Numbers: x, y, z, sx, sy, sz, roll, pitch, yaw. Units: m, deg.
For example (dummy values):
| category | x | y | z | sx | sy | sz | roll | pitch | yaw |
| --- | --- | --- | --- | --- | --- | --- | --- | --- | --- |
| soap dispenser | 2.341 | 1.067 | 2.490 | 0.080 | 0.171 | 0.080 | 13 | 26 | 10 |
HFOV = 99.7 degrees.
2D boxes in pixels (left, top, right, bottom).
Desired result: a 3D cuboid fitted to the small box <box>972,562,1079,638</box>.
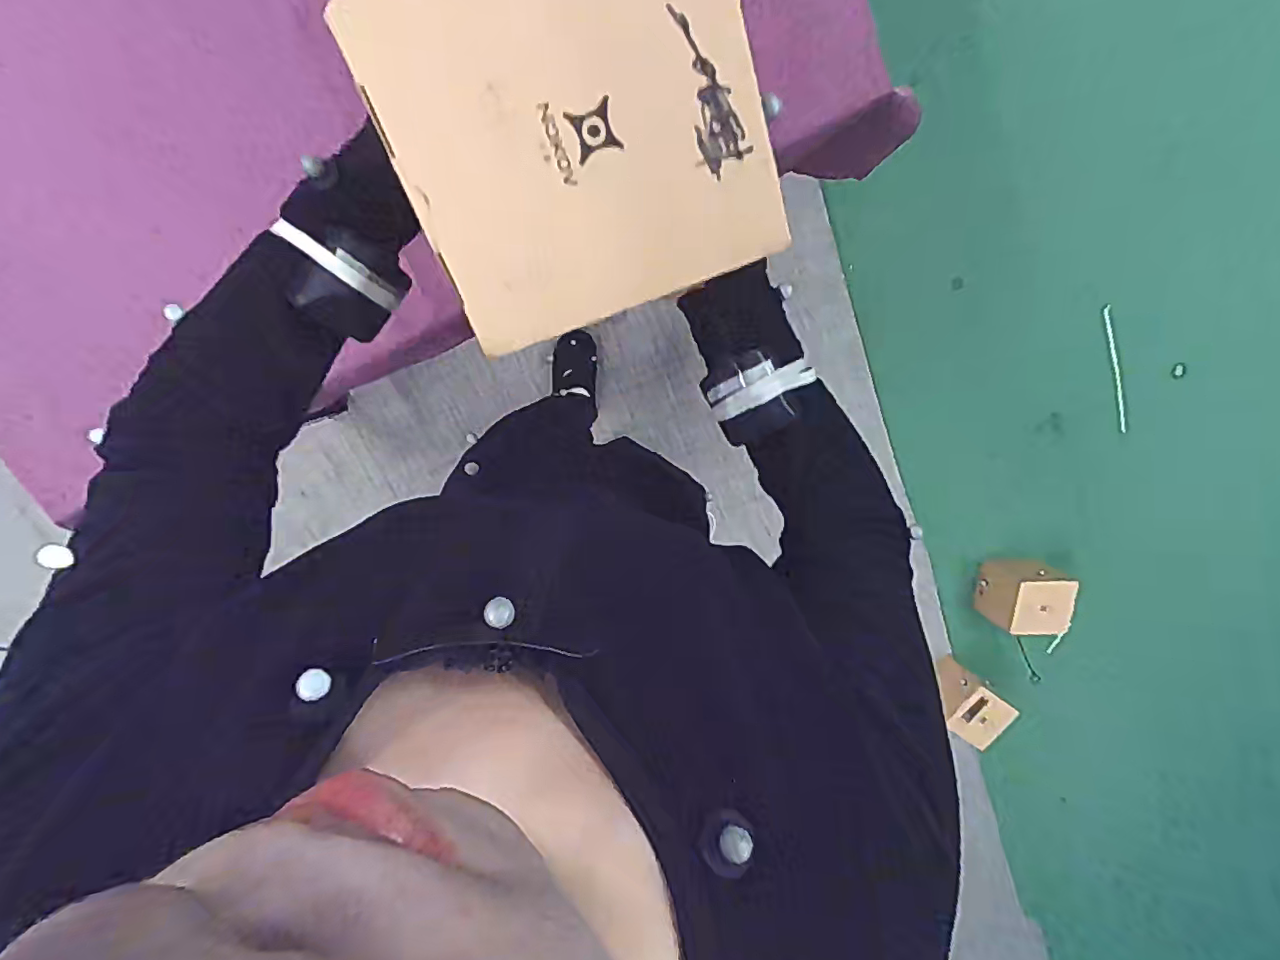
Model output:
| category | x | y | z | sx | sy | sz | roll | pitch | yaw |
| --- | --- | --- | --- | --- | --- | --- | --- | --- | --- |
| small box | 1.127 | 0.350 | 1.594 | 0.179 | 0.176 | 0.168 | 1 | 105 | -4 |
